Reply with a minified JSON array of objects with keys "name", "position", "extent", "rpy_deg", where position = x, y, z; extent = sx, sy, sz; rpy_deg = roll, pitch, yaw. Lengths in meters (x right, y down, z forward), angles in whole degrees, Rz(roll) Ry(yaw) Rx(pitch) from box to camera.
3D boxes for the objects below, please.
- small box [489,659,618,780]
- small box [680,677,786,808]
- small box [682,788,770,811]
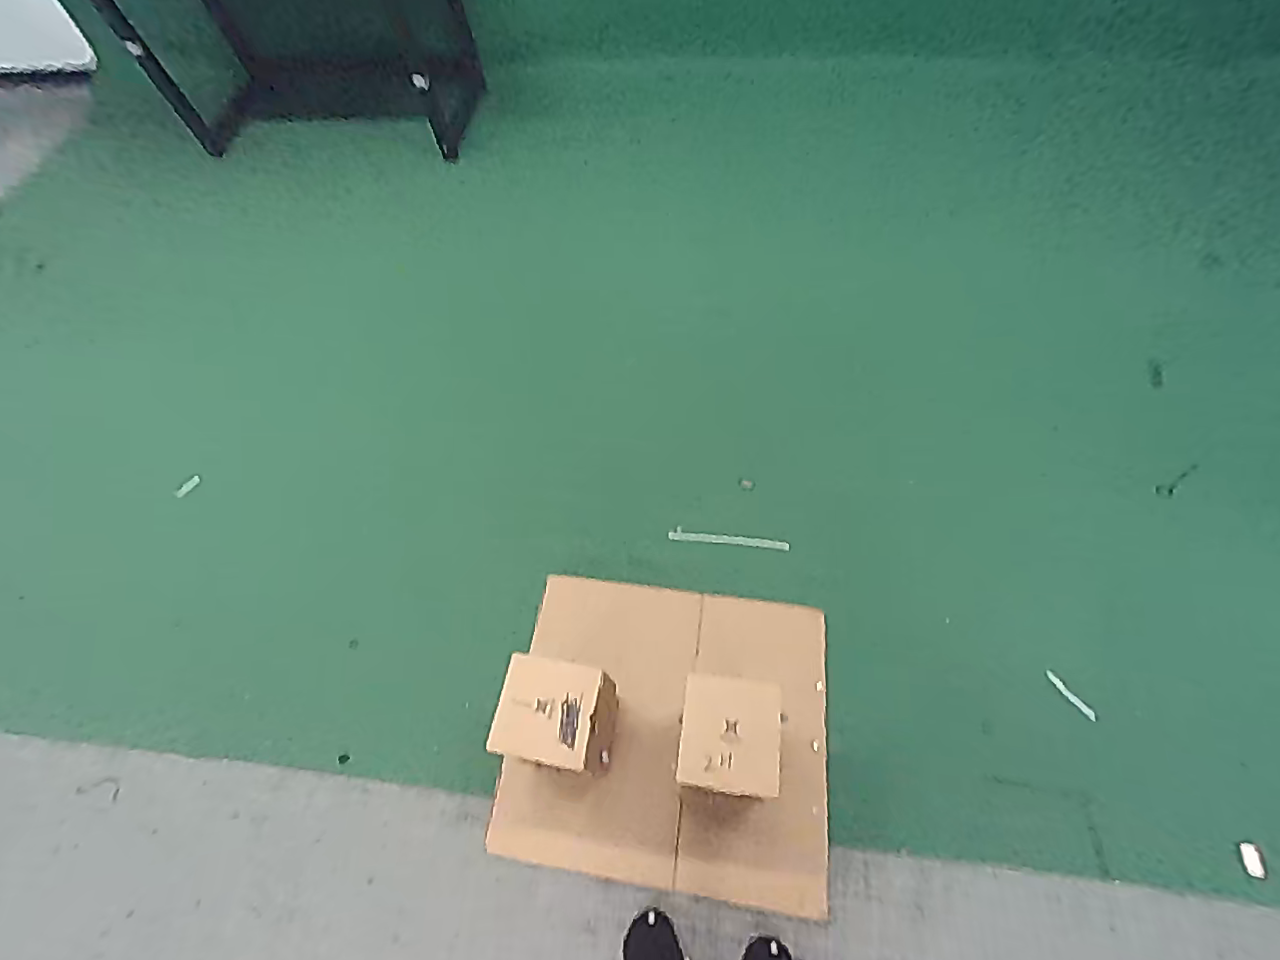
[{"name":"small box","position":[-0.148,0.447,1.004],"extent":[0.179,0.176,0.168],"rpy_deg":[7,61,11]},{"name":"small box","position":[0.162,0.470,0.967],"extent":[0.168,0.176,0.179],"rpy_deg":[6,61,9]},{"name":"small box","position":[0.173,0.562,1.104],"extent":[0.168,0.176,0.179],"rpy_deg":[4,61,7]}]
